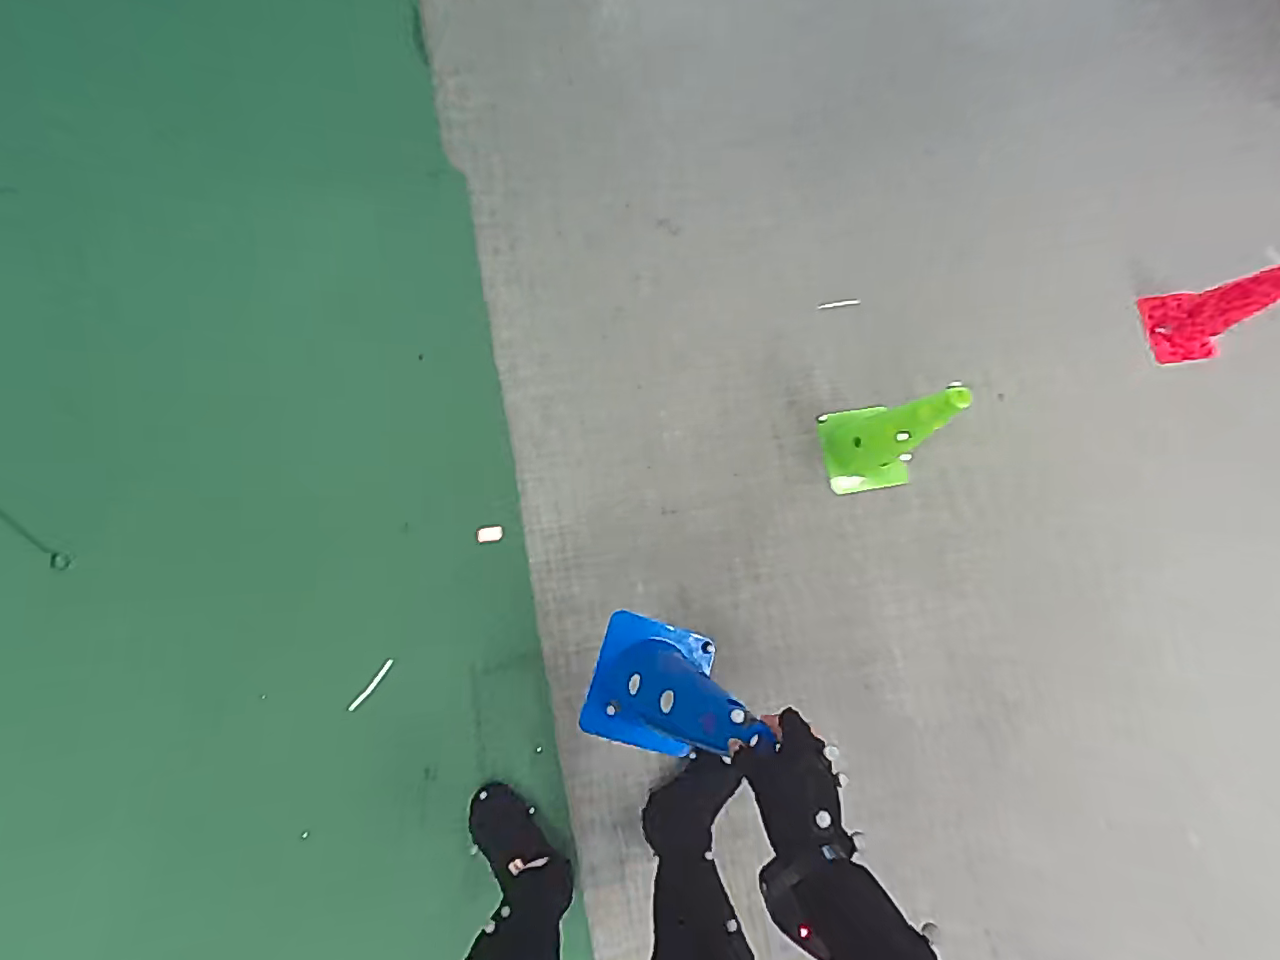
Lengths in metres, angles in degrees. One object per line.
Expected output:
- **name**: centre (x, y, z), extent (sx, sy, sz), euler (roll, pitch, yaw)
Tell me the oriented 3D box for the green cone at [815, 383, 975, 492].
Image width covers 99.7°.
- **green cone**: centre (0.553, -0.113, 1.135), extent (0.202, 0.368, 0.200), euler (-11, 80, -9)
